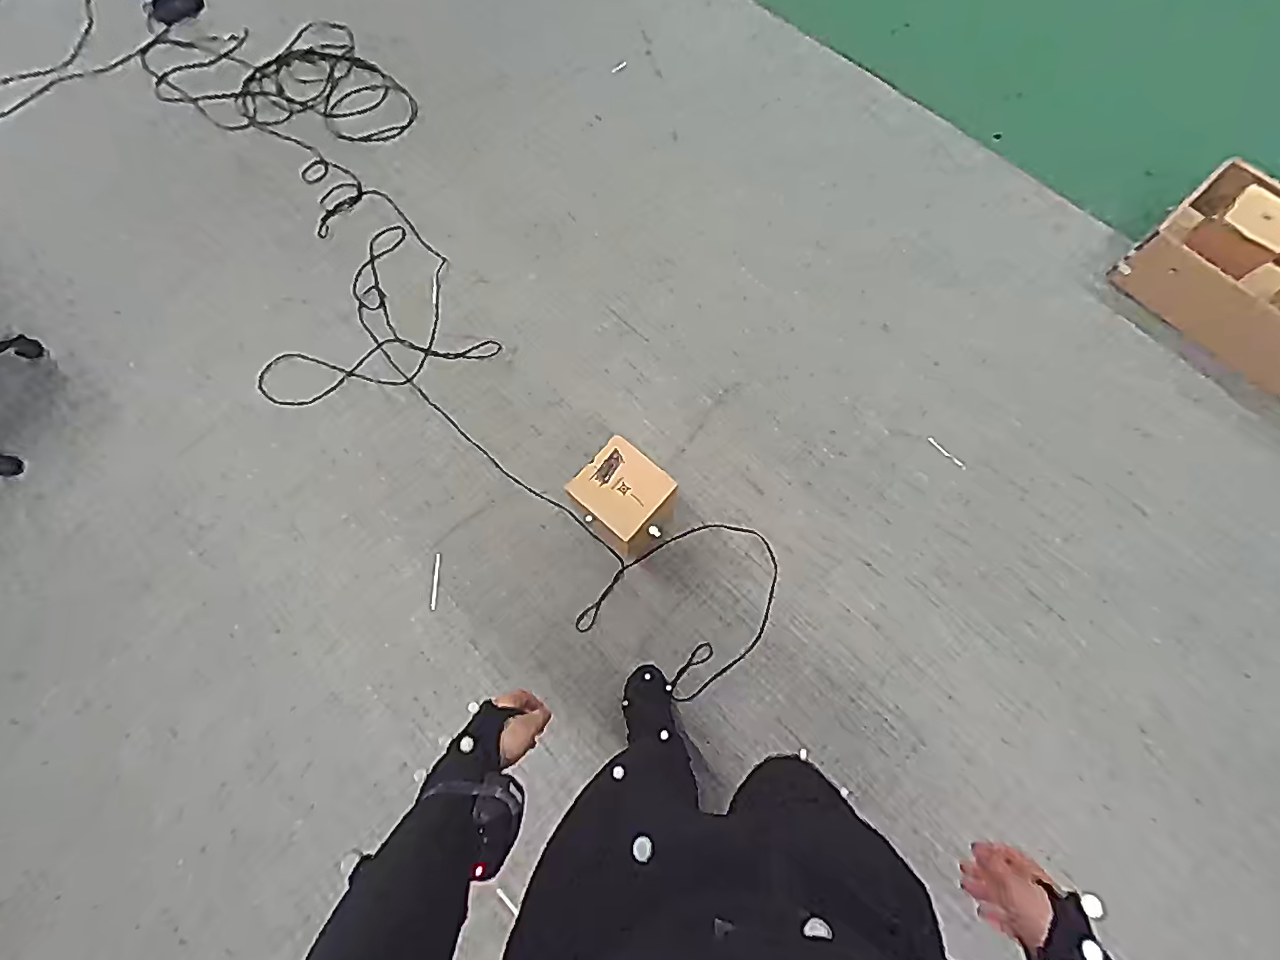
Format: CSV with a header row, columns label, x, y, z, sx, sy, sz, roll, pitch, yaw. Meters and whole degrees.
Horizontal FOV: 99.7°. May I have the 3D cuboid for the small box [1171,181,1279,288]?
label,x,y,z,sx,sy,sz,roll,pitch,yaw
small box,1.673,-0.683,1.520,0.168,0.176,0.179,42,78,12

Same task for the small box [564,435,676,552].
label,x,y,z,sx,sy,sz,roll,pitch,yaw
small box,-0.041,0.038,1.188,0.179,0.176,0.168,40,77,12

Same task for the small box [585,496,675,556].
label,x,y,z,sx,sy,sz,roll,pitch,yaw
small box,-0.030,0.074,1.348,0.179,0.176,0.168,36,75,12
